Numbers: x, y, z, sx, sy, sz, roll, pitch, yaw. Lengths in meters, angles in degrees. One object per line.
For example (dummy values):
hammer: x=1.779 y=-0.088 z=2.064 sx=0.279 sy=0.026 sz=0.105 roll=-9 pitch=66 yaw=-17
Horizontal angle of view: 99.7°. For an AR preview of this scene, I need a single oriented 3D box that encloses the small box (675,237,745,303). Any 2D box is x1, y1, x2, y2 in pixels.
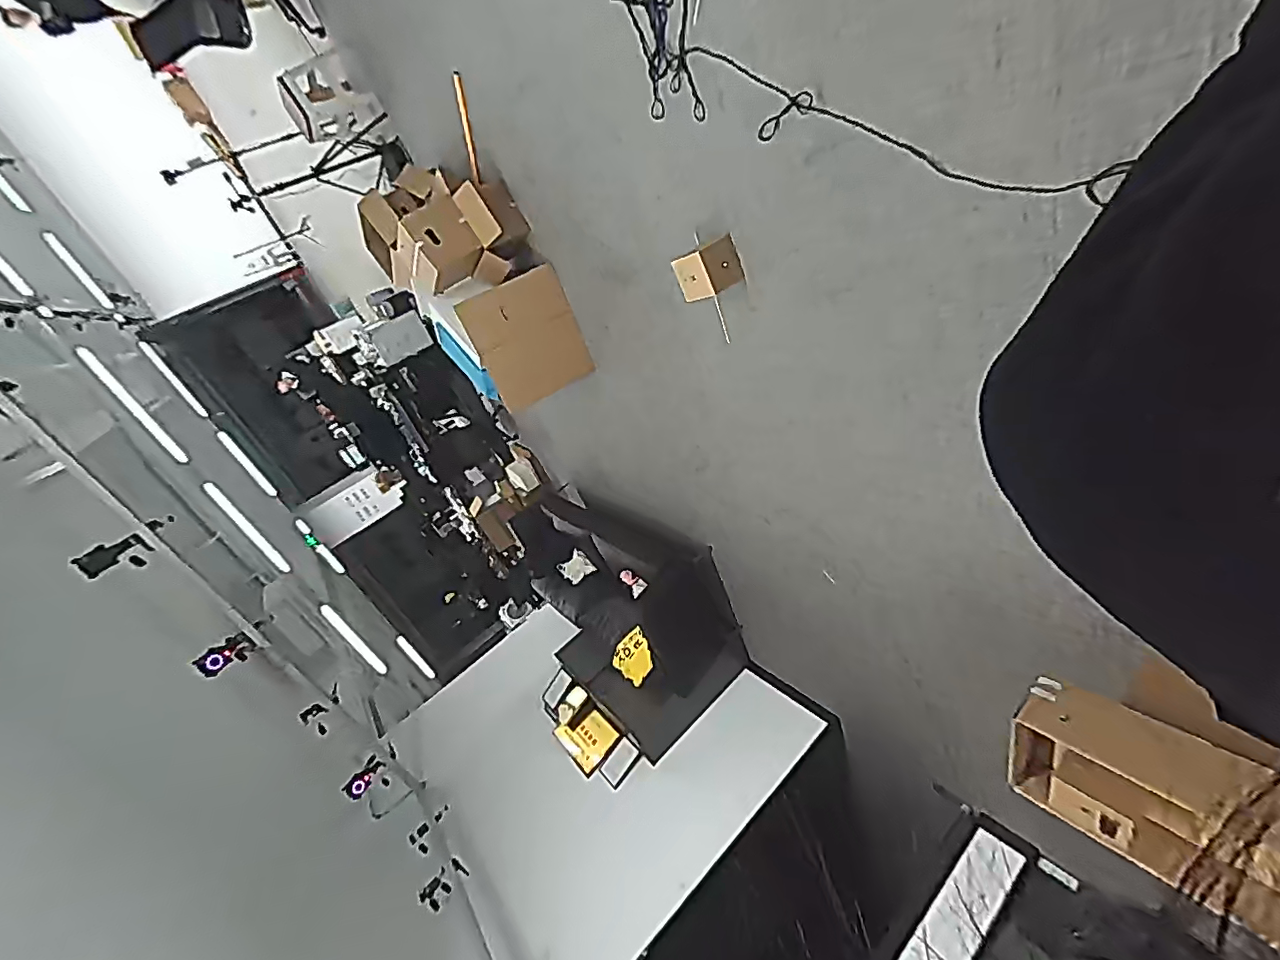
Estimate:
small box: x=0.272 y=-0.794 z=2.041 sx=0.179 sy=0.176 sz=0.168 roll=14 pitch=136 yaw=57
